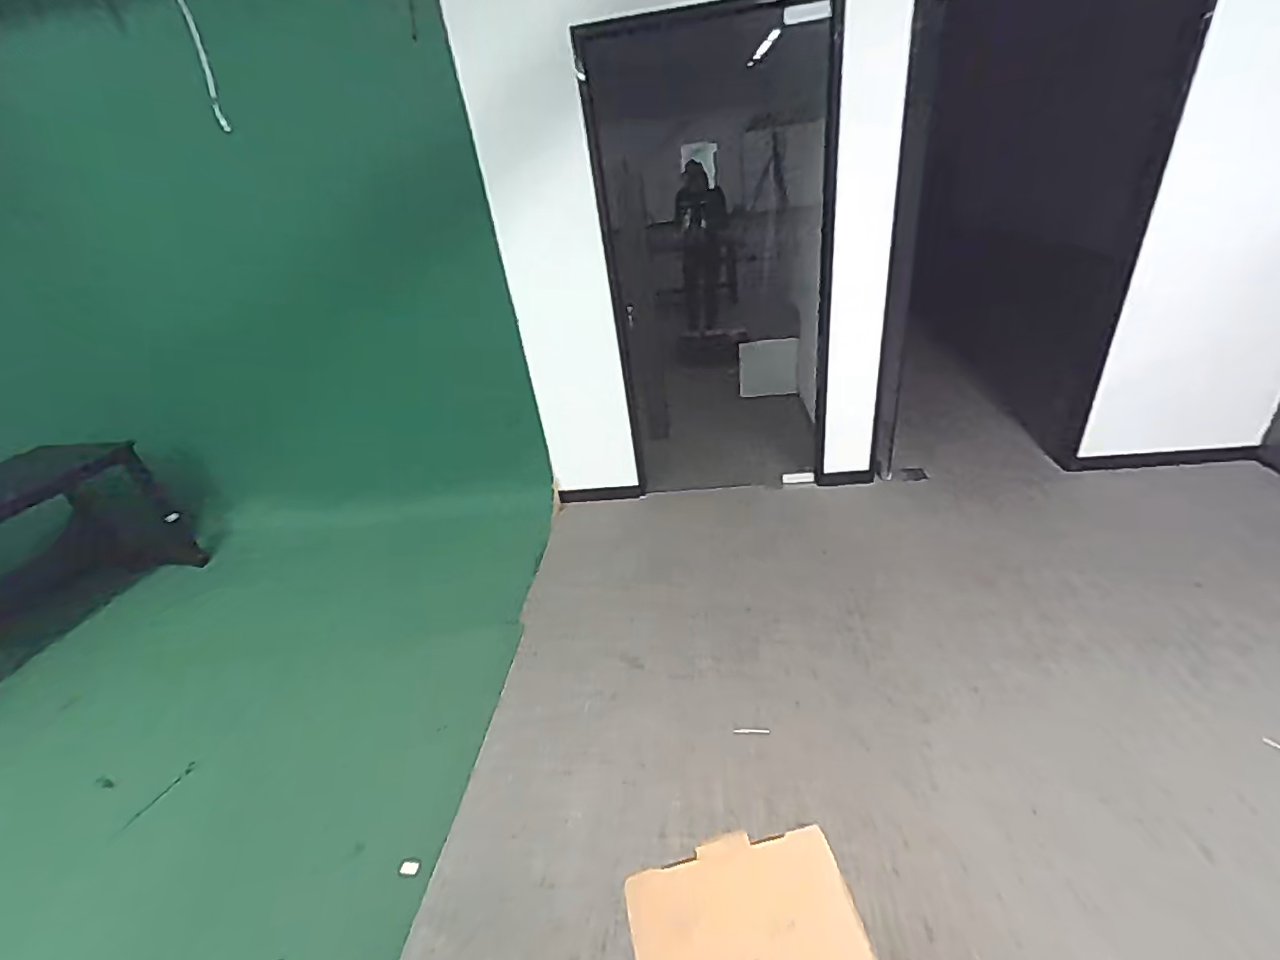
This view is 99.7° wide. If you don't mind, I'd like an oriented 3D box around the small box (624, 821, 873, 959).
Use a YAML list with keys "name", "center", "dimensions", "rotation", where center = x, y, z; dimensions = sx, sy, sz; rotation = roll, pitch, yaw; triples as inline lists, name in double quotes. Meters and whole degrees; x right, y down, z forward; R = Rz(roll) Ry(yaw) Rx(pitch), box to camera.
- name: "small box"
  center: [0.085, 0.405, 0.418]
  dimensions: [0.168, 0.176, 0.179]
  rotation: [-10, 41, -7]
